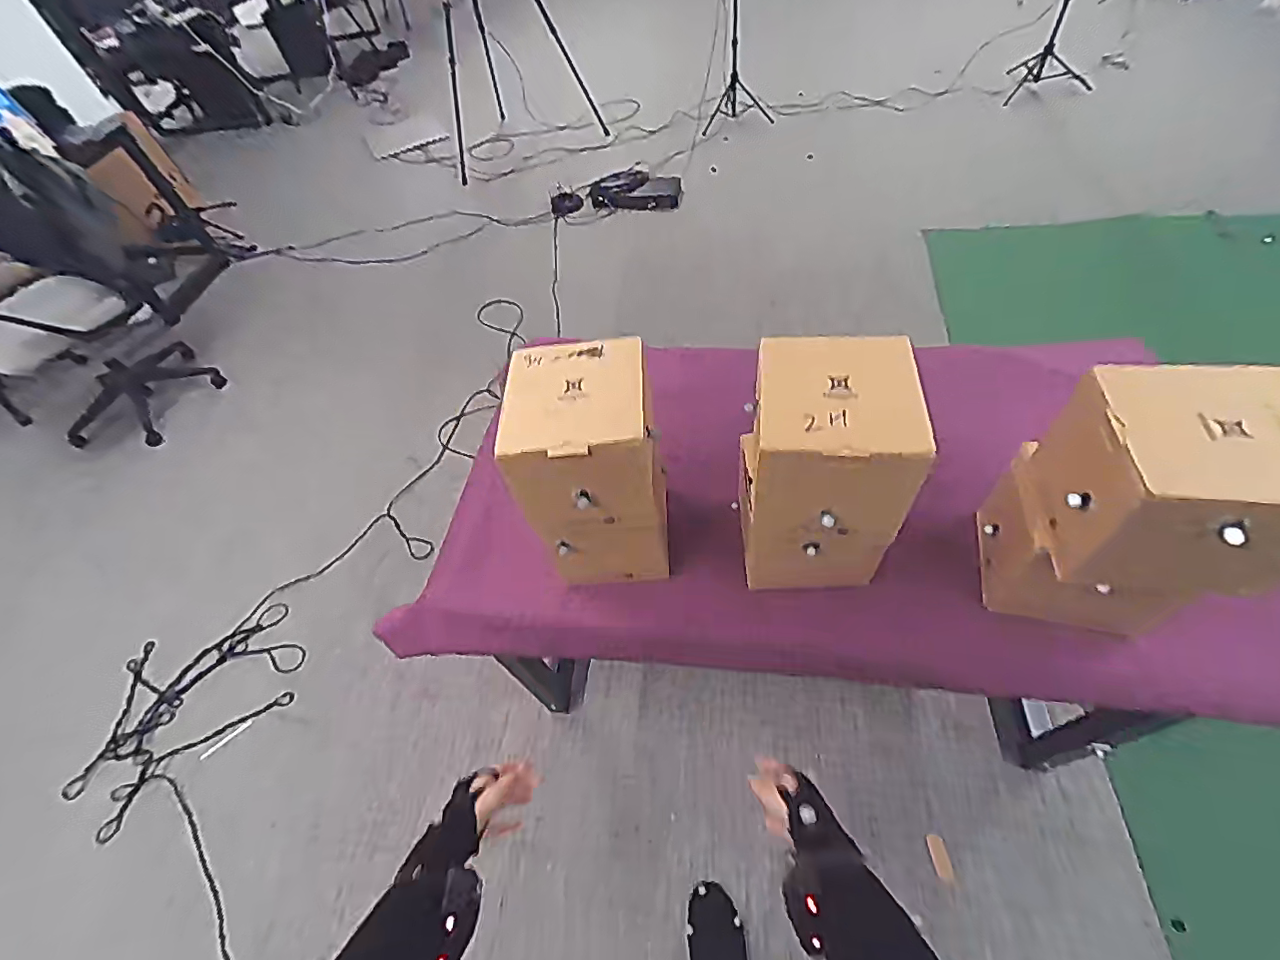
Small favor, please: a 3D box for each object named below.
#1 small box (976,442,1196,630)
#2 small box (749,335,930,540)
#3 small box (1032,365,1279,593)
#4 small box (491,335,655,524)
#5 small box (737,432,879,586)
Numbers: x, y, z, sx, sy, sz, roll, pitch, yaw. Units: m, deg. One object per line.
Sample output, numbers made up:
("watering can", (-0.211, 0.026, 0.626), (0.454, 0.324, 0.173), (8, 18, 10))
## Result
("small box", (0.563, 0.076, 0.698), (0.179, 0.176, 0.168), (9, 54, 17))
("small box", (0.217, -0.050, 0.639), (0.168, 0.176, 0.179), (2, 54, 10))
("small box", (0.536, 0.001, 0.552), (0.179, 0.176, 0.168), (4, 54, 13))
("small box", (-0.071, -0.055, 0.685), (0.168, 0.176, 0.179), (-4, 53, 5))
("small box", (0.234, 0.042, 0.774), (0.179, 0.176, 0.168), (-3, 53, 5))
